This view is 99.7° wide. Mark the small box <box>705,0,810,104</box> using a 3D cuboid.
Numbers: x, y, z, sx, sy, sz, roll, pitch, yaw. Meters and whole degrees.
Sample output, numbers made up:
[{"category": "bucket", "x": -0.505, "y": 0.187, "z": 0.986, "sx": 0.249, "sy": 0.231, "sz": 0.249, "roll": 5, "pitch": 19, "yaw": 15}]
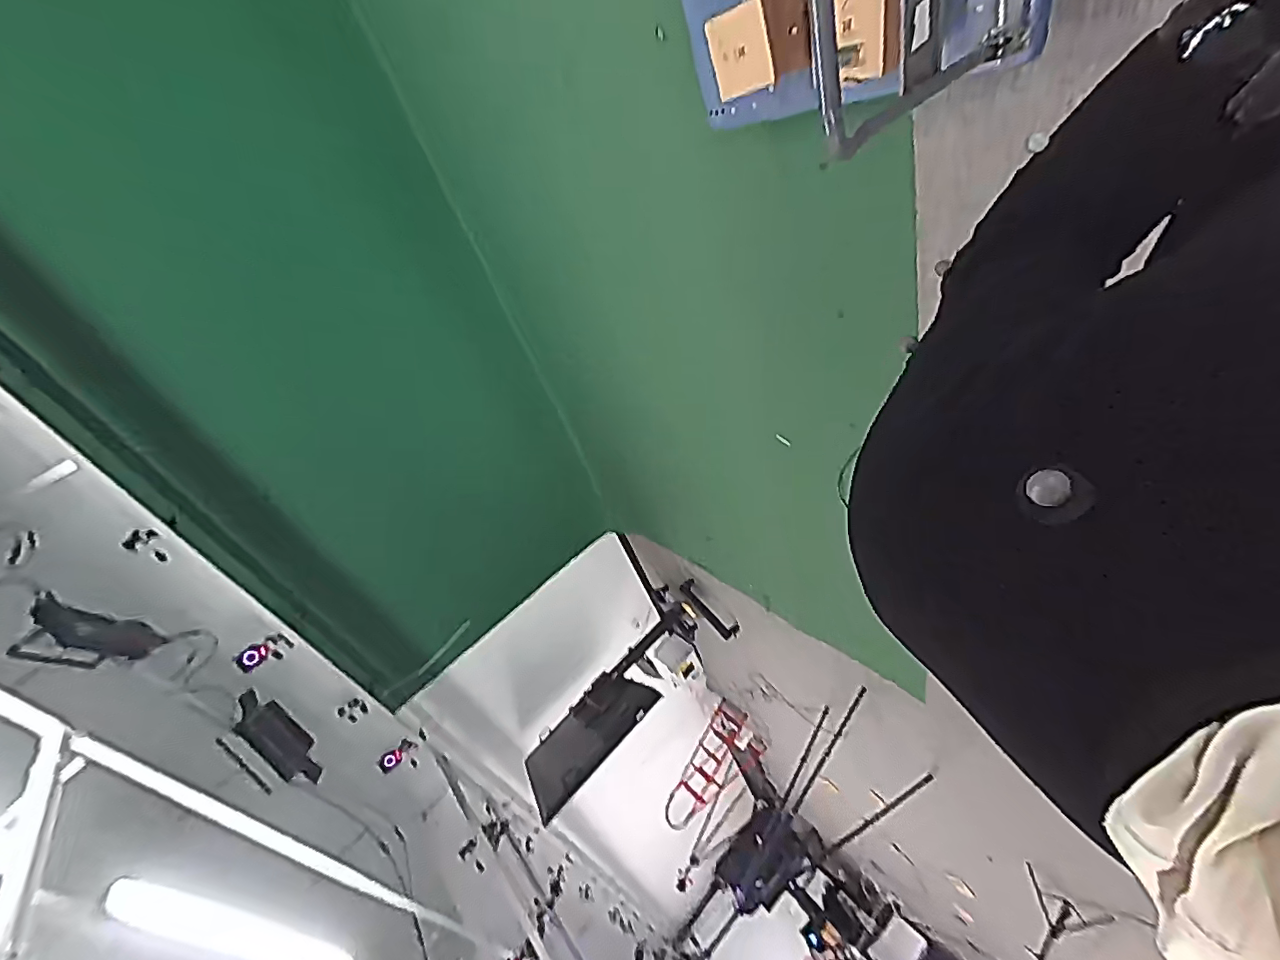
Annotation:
[{"category": "small box", "x": 0.294, "y": -1.056, "z": 1.313, "sx": 0.179, "sy": 0.176, "sz": 0.168, "roll": 22, "pitch": 144, "yaw": 48}]
